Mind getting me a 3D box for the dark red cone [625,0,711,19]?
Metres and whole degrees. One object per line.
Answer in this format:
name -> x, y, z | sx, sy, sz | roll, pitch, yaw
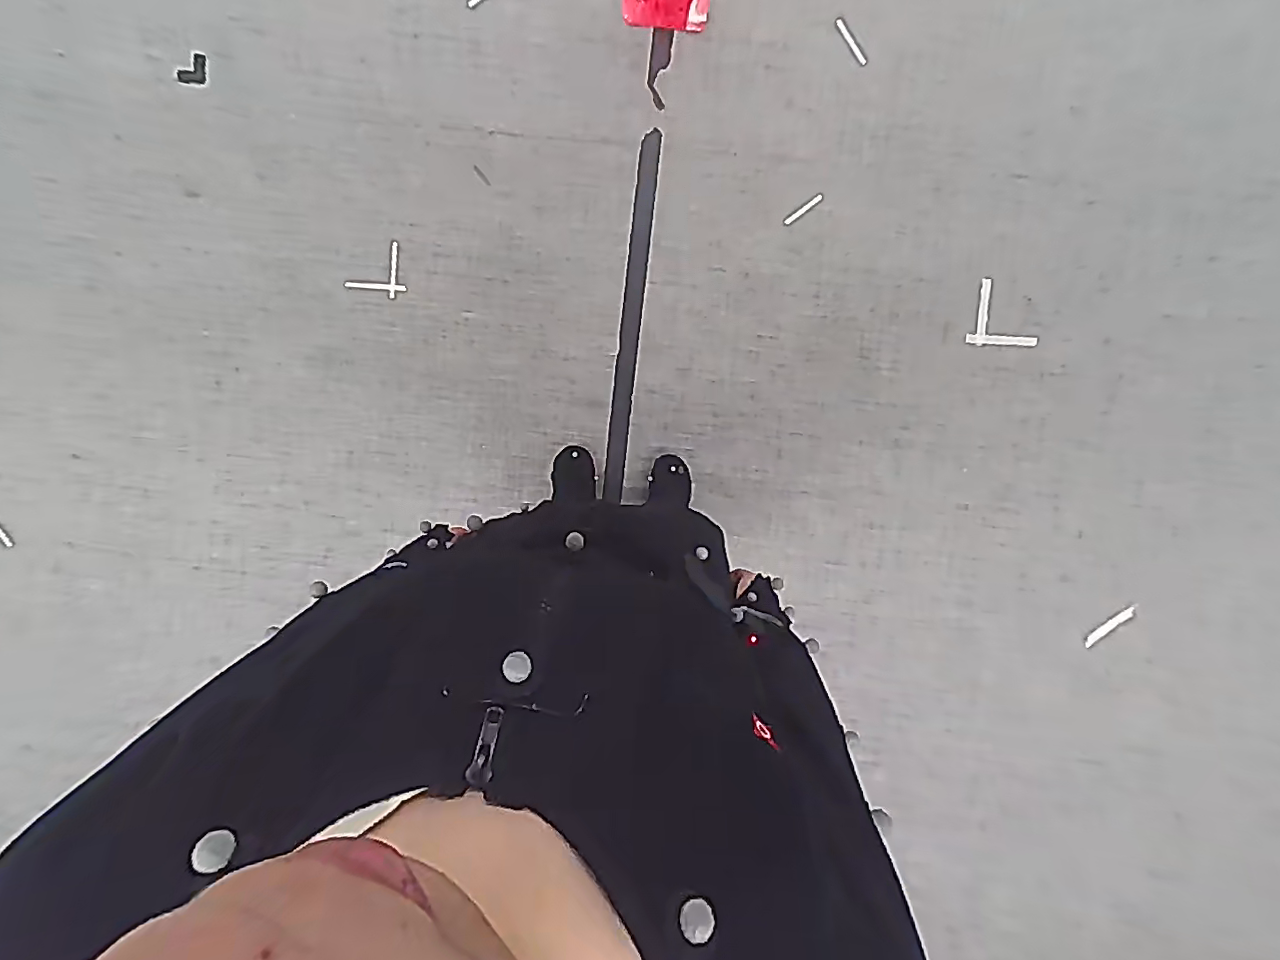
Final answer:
dark red cone -> 0.064, -1.153, 1.071 | 0.201, 0.394, 0.202 | 5, 96, 1
